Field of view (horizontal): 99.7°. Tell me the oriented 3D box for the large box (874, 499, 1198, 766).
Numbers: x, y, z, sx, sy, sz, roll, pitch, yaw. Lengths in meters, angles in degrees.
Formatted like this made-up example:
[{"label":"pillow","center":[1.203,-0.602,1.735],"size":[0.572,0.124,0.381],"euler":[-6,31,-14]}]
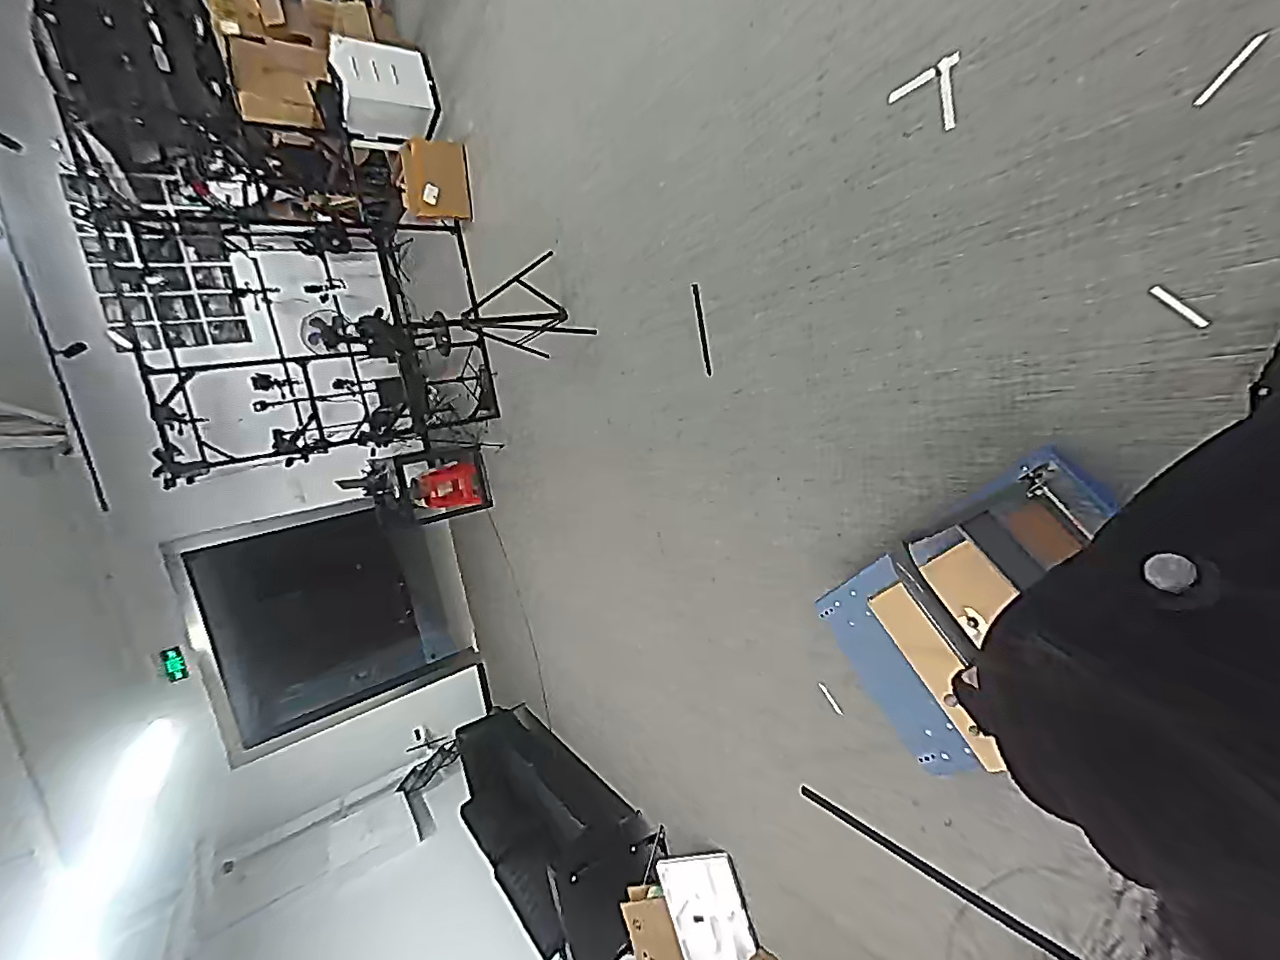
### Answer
[{"label":"large box","center":[0.807,0.310,1.141],"size":[0.408,0.320,0.320],"euler":[60,144,24]}]
